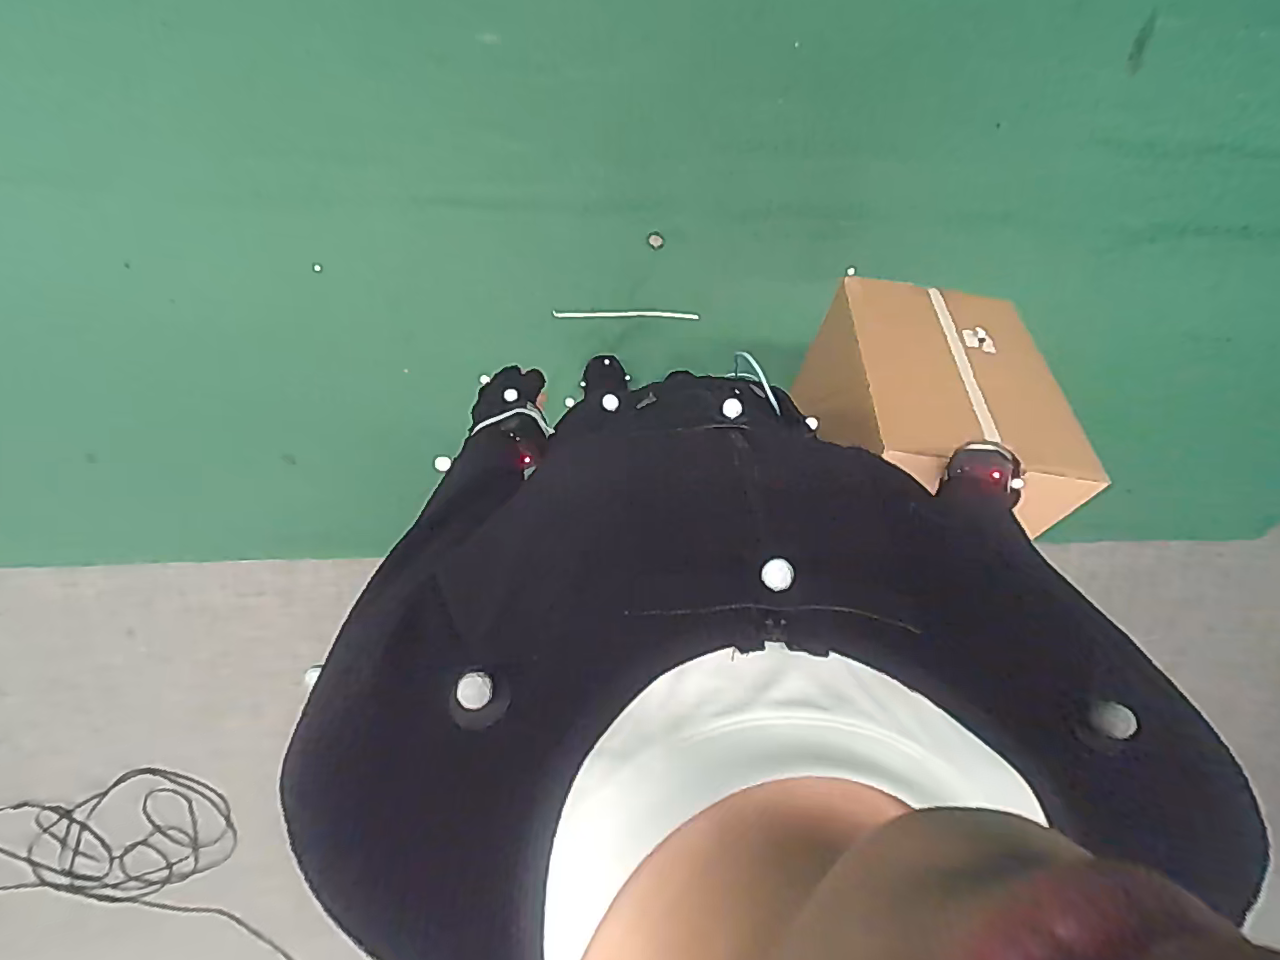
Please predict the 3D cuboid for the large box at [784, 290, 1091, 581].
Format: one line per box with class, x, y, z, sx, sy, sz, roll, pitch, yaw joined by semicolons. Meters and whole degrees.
large box;0.468;-0.076;0.970;0.320;0.408;0.320;9;141;-3
